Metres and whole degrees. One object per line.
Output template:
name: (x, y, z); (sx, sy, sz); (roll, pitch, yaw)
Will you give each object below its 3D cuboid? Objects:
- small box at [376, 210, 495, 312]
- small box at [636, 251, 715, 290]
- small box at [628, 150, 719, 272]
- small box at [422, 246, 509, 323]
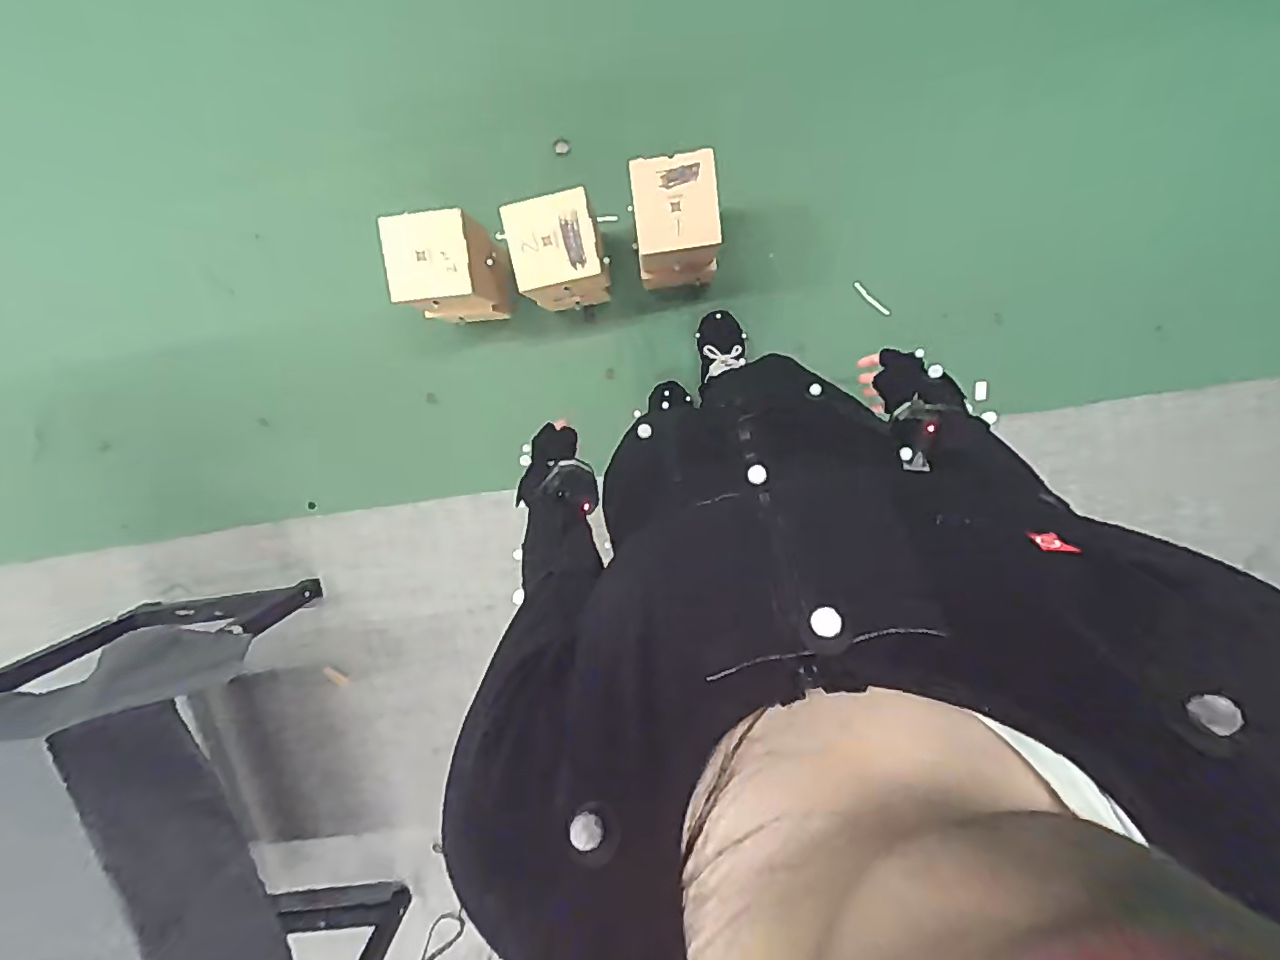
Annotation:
small box: (-0.432, -0.463, 1.166); (0.179, 0.176, 0.168); (-4, 100, 4)
small box: (0.079, -0.557, 1.290); (0.179, 0.176, 0.168); (-5, 100, 3)
small box: (0.068, -0.550, 1.126); (0.168, 0.176, 0.179); (-7, 100, 4)
small box: (-0.431, -0.483, 1.330); (0.168, 0.176, 0.179); (-3, 100, 4)
